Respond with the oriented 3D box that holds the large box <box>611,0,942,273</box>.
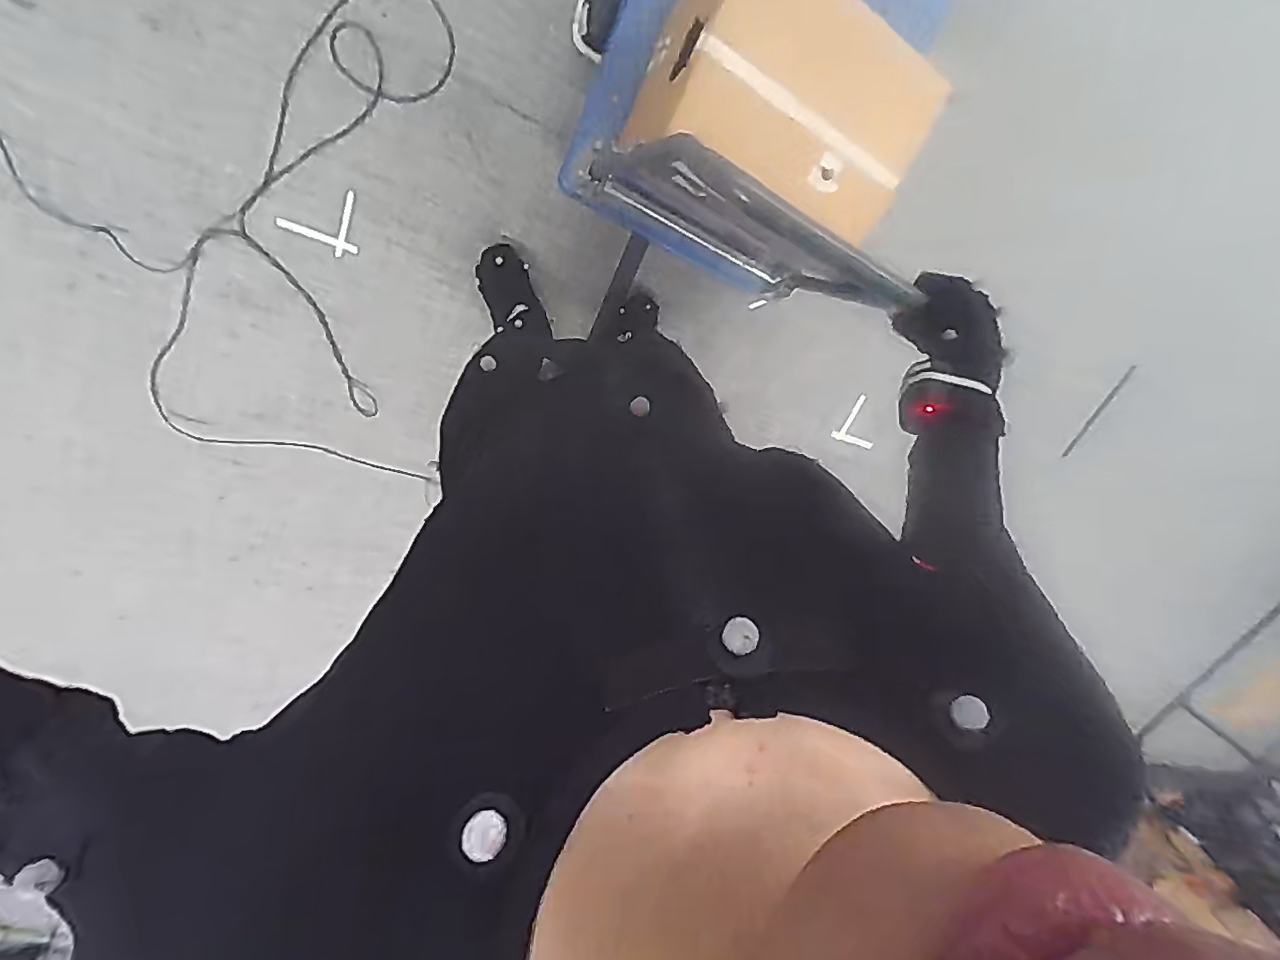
[{"bbox_3d":[0.211,-0.618,0.960,0.408,0.320,0.320,17,113,-26],"label":"large box"}]
